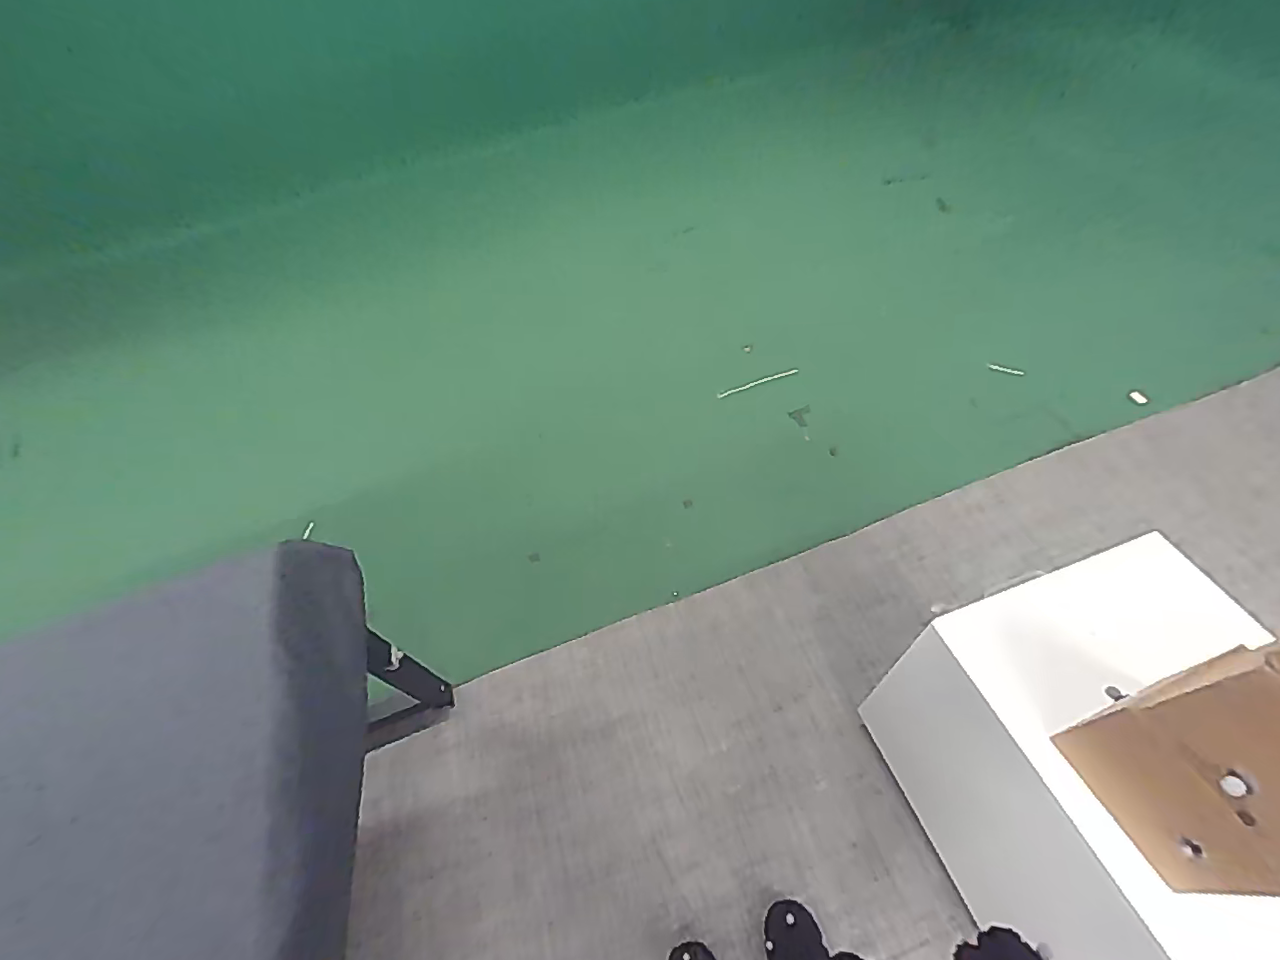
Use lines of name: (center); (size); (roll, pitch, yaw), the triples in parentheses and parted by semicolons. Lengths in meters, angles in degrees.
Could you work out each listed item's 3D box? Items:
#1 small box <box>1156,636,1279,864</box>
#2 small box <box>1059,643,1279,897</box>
small box: (0.610, 0.217, 0.451); (0.179, 0.176, 0.168); (-23, 55, -10)
small box: (0.621, 0.312, 0.584); (0.168, 0.176, 0.179); (-22, 53, -8)
